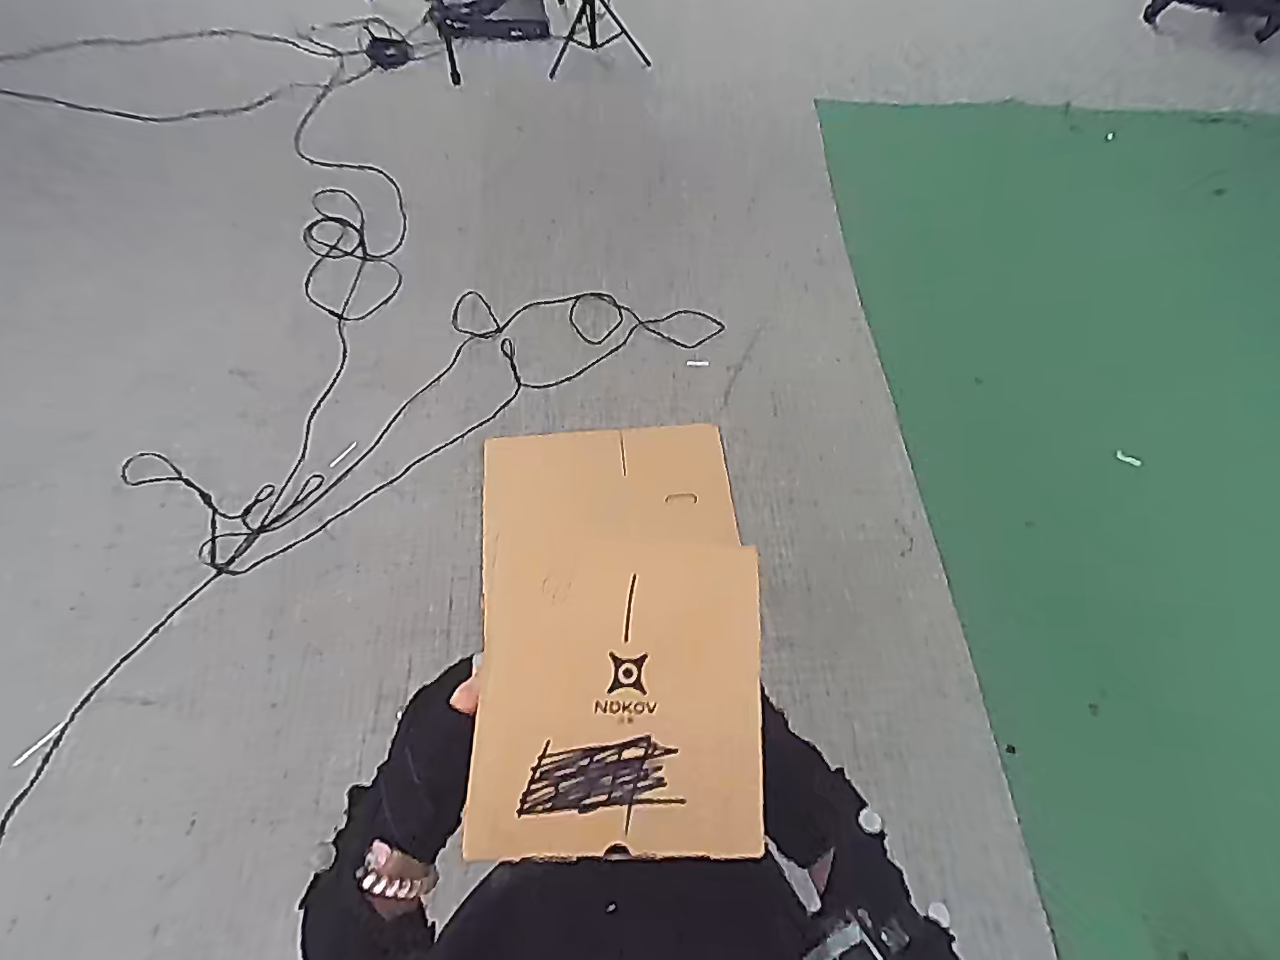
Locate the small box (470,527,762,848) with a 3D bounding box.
[{"bbox_3d":[-0.017,0.139,0.397,0.168,0.176,0.179,5,74,-7],"label":"small box"}]
